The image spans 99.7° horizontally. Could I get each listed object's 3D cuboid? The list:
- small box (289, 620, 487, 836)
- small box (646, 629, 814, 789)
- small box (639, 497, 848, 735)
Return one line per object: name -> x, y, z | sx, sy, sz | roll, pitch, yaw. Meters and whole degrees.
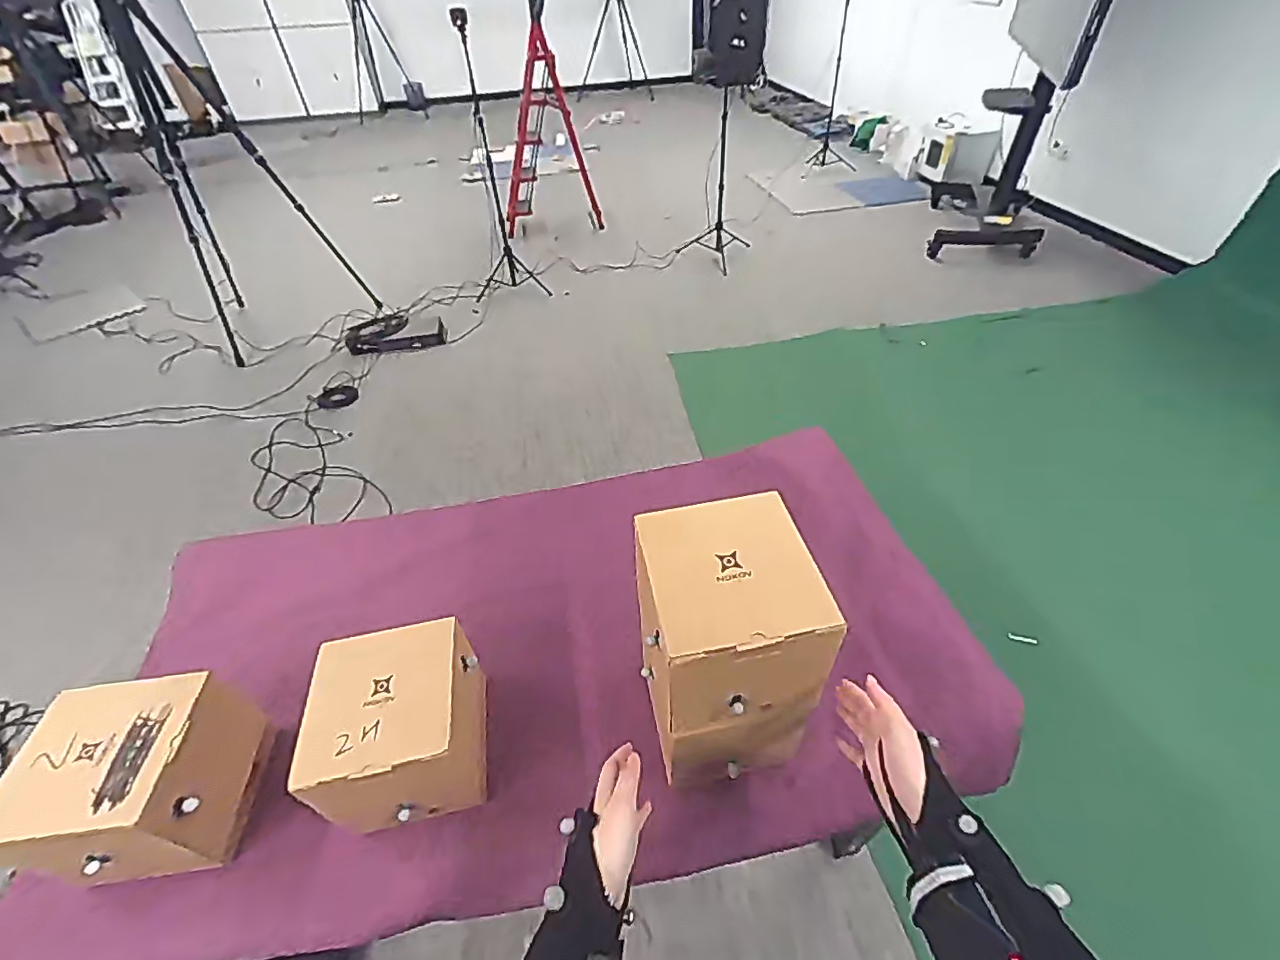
small box -> -0.293, 0.307, 0.675 | 0.168, 0.176, 0.179 | -10, 43, -7
small box -> 0.100, 0.266, 0.698 | 0.168, 0.176, 0.179 | -9, 45, -6
small box -> 0.094, 0.146, 0.589 | 0.168, 0.176, 0.179 | -9, 44, -6
